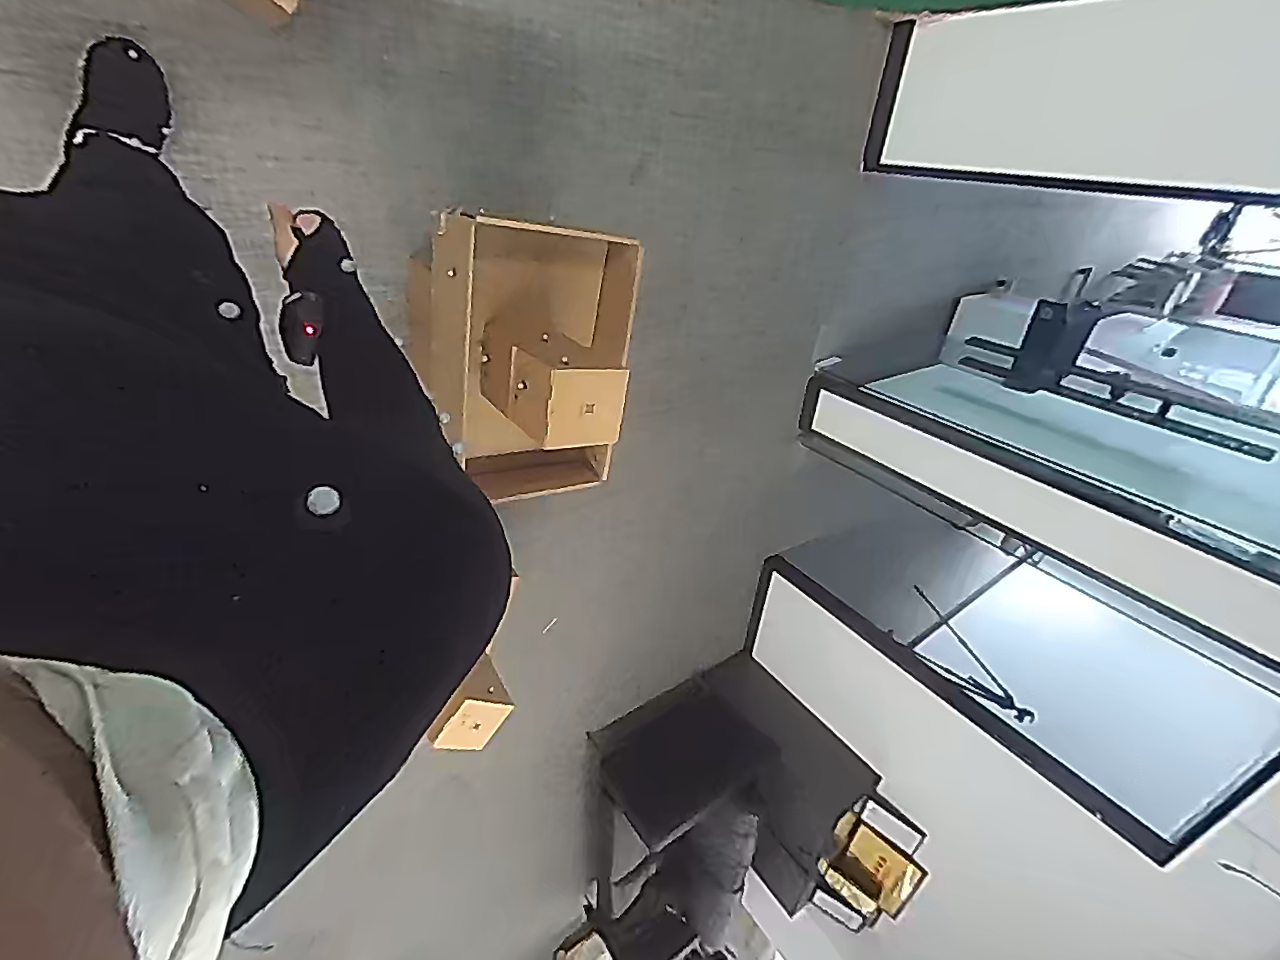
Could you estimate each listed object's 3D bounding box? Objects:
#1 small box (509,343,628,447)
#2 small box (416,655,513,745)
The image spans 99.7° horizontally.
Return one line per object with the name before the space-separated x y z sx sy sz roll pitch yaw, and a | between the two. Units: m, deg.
small box | -0.154 -0.183 1.130 0.179 0.176 0.168 -9 123 -36
small box | -0.503 0.624 1.540 0.168 0.176 0.179 -53 136 1
